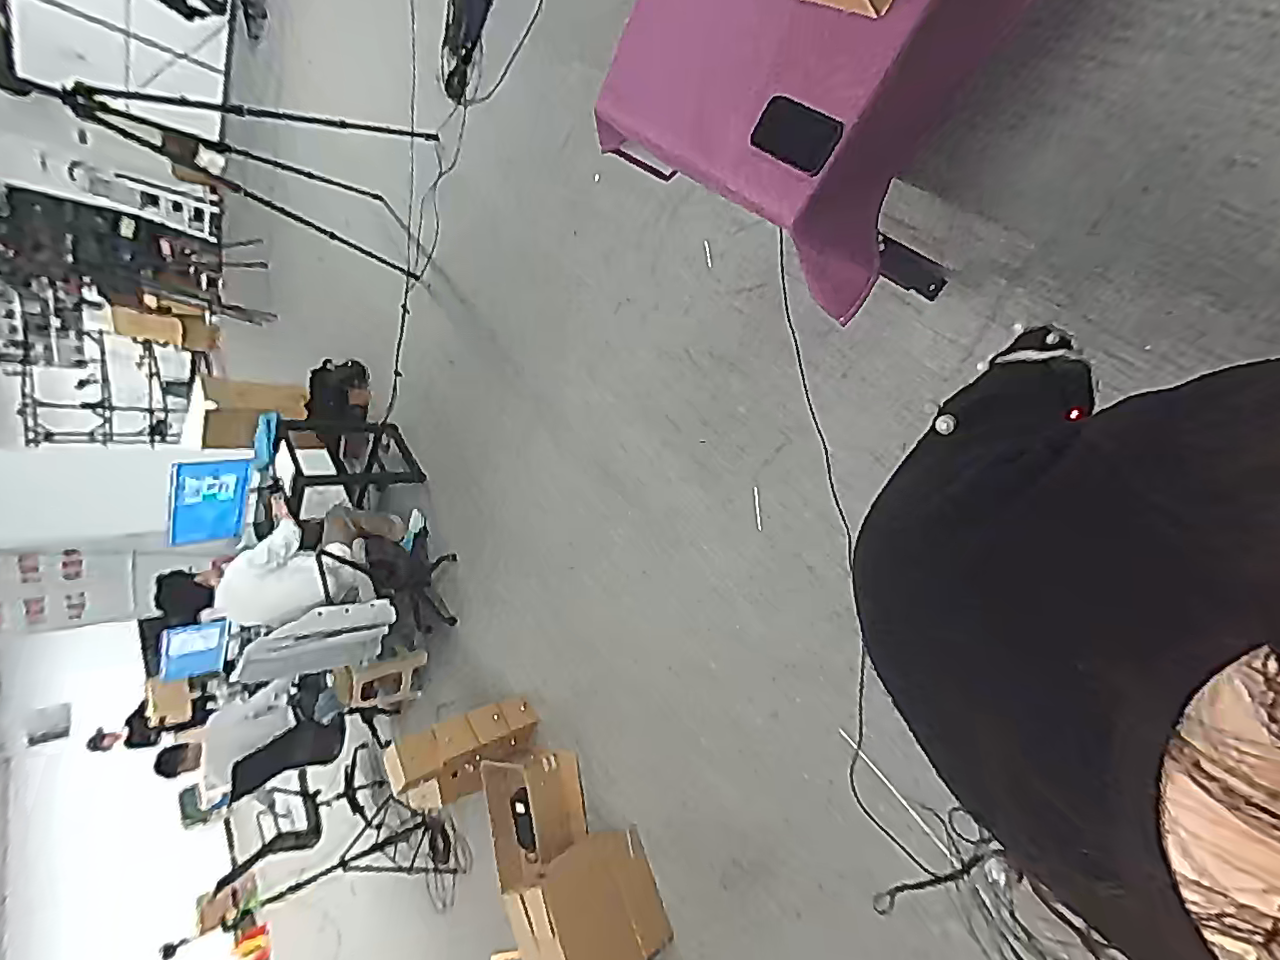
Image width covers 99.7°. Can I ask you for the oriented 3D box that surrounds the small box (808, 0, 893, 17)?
[{"bbox_3d":[0.273,-0.759,0.709,0.179,0.176,0.168,48,123,30],"label":"small box"}]
